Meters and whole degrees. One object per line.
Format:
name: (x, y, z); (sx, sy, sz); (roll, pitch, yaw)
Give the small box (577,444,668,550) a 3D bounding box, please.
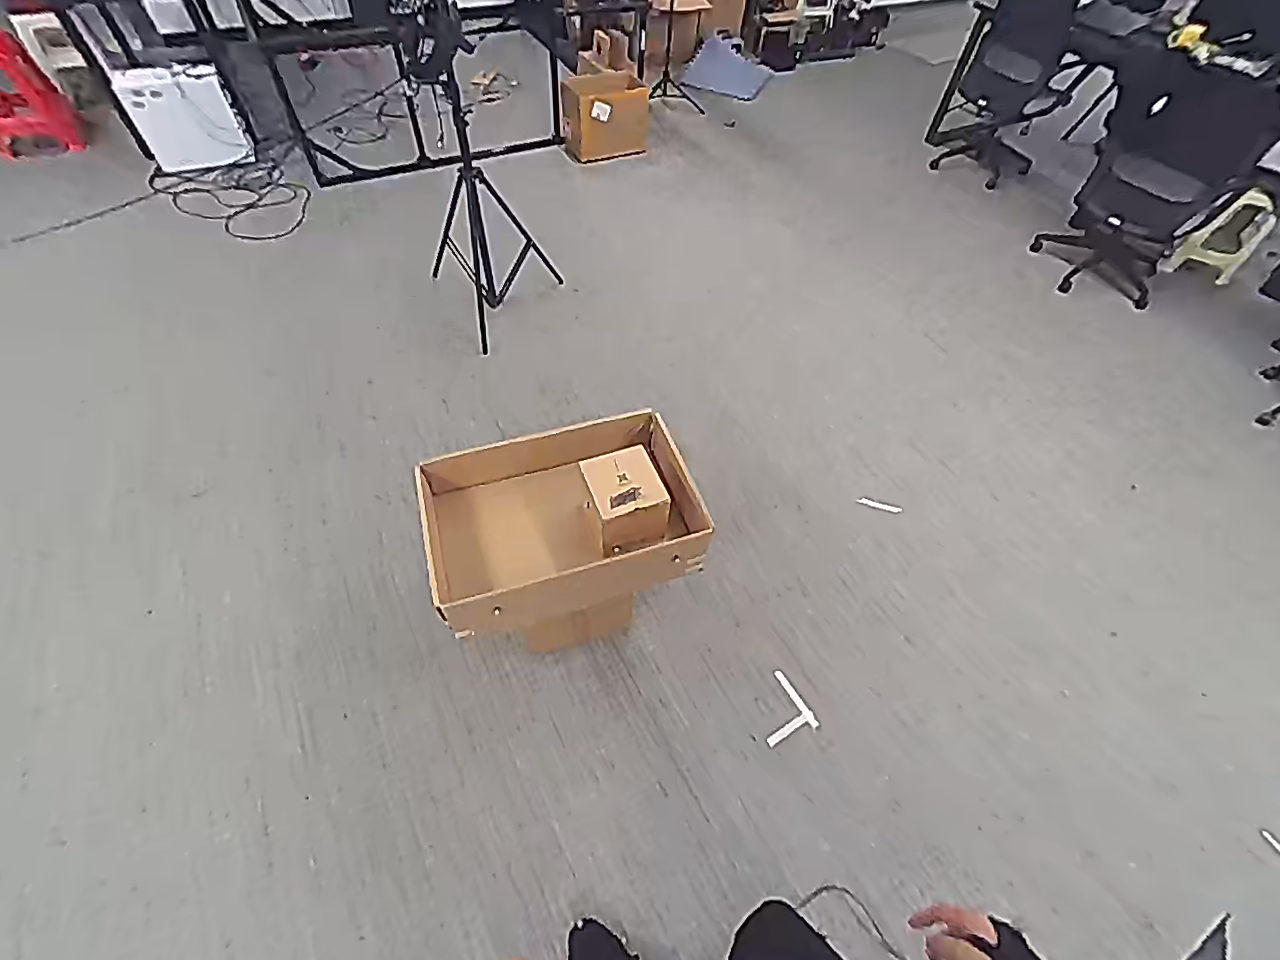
small box: (-0.044, 0.048, 1.297); (0.168, 0.176, 0.179); (-17, 56, -15)
